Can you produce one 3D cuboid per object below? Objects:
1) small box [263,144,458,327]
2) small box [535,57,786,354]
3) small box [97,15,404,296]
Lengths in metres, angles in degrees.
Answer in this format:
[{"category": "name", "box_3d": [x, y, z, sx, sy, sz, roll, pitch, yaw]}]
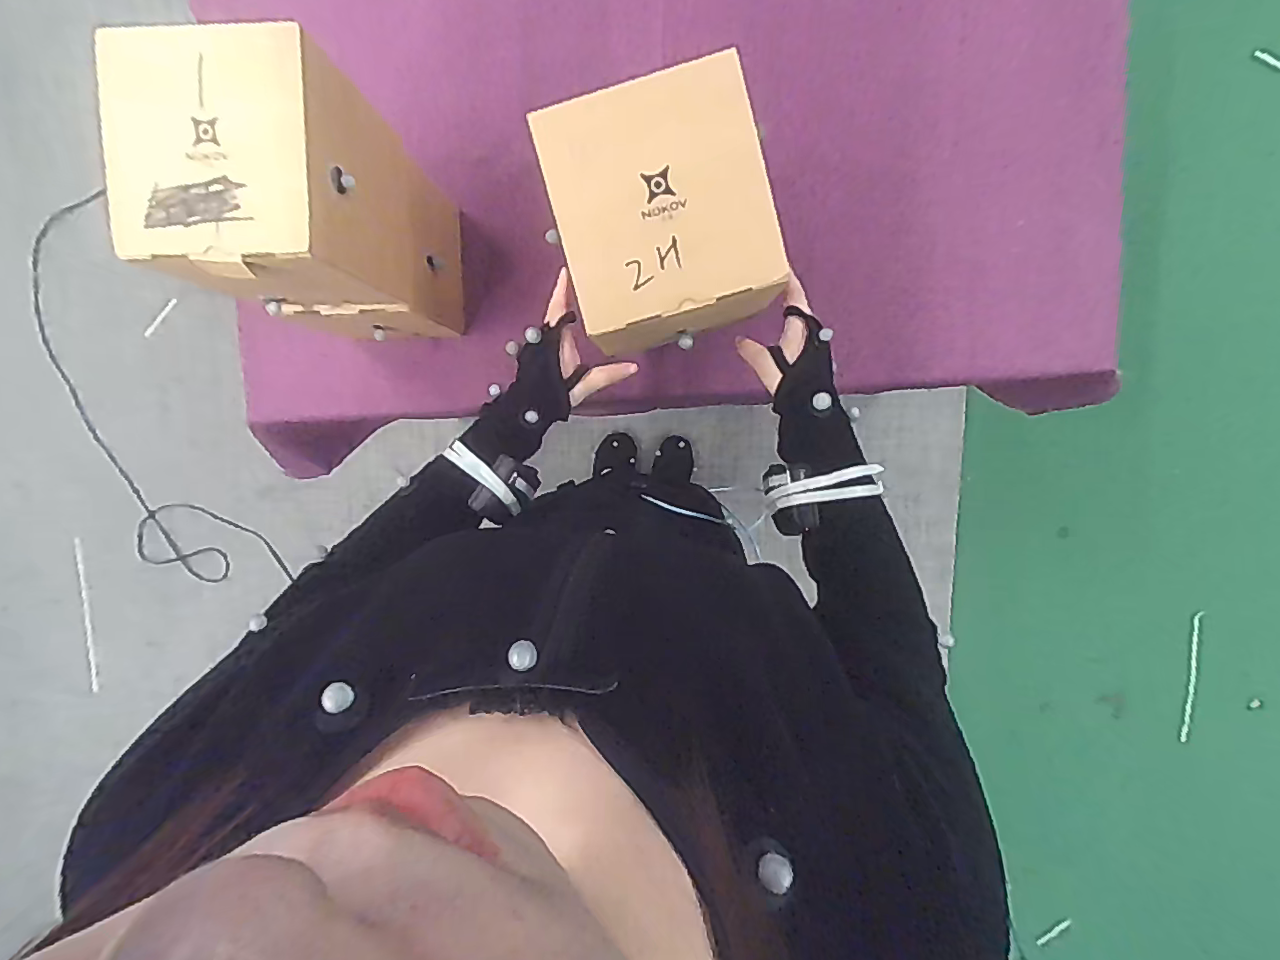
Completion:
[{"category": "small box", "box_3d": [-0.333, -0.287, 0.665, 0.168, 0.176, 0.179, 0, 97, 1]}, {"category": "small box", "box_3d": [0.018, -0.226, 0.497, 0.168, 0.176, 0.179, -14, 97, 4]}, {"category": "small box", "box_3d": [-0.335, -0.276, 0.501, 0.168, 0.176, 0.179, 1, 95, 1]}]
